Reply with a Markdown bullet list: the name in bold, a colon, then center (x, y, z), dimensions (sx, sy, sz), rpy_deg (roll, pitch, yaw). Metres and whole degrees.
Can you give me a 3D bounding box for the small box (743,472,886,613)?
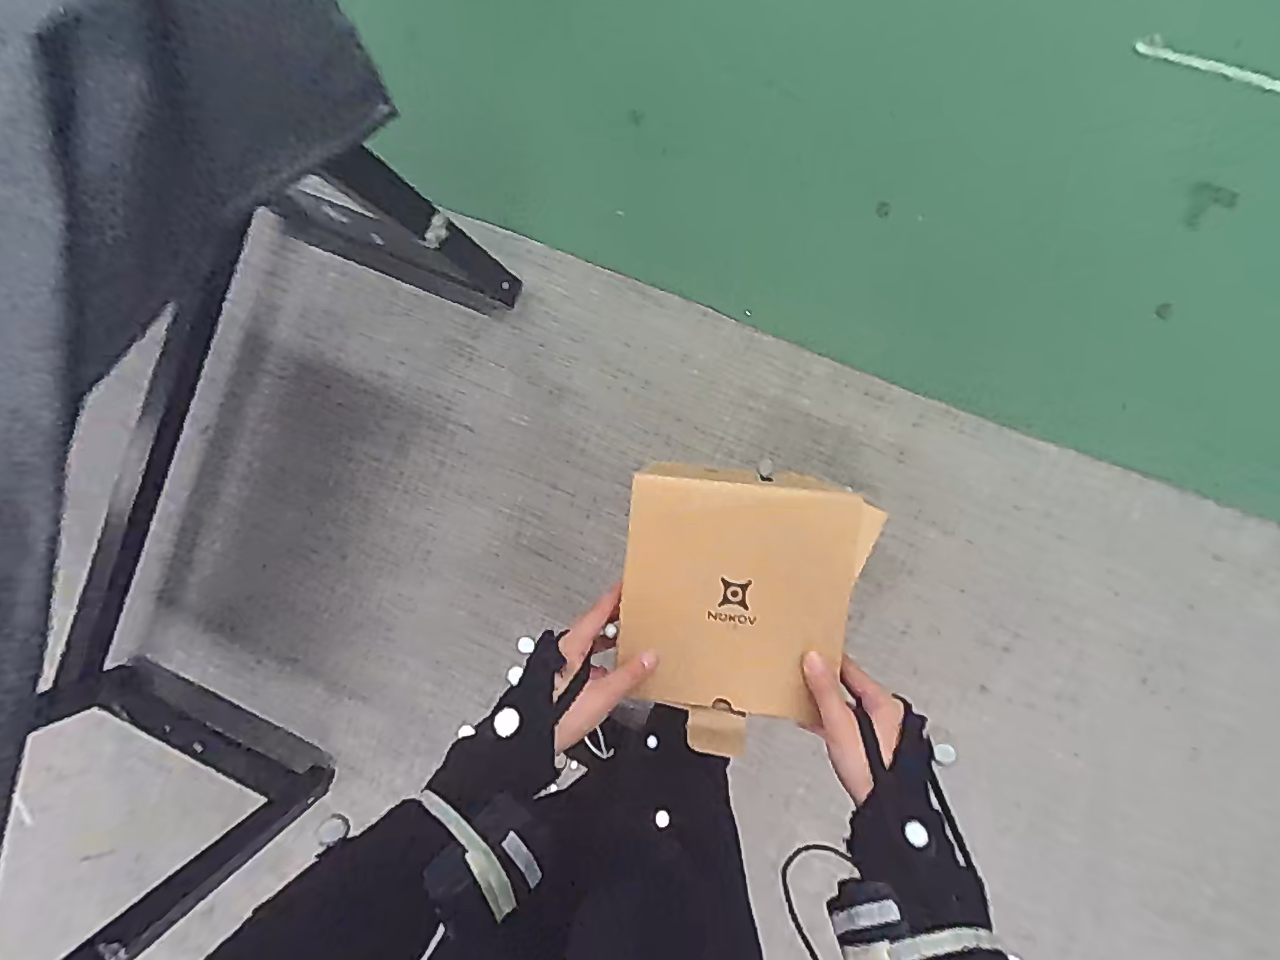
- **small box**: center (0.288, 0.097, 0.933), dimensions (0.168, 0.176, 0.179), rpy_deg (24, 96, 7)
